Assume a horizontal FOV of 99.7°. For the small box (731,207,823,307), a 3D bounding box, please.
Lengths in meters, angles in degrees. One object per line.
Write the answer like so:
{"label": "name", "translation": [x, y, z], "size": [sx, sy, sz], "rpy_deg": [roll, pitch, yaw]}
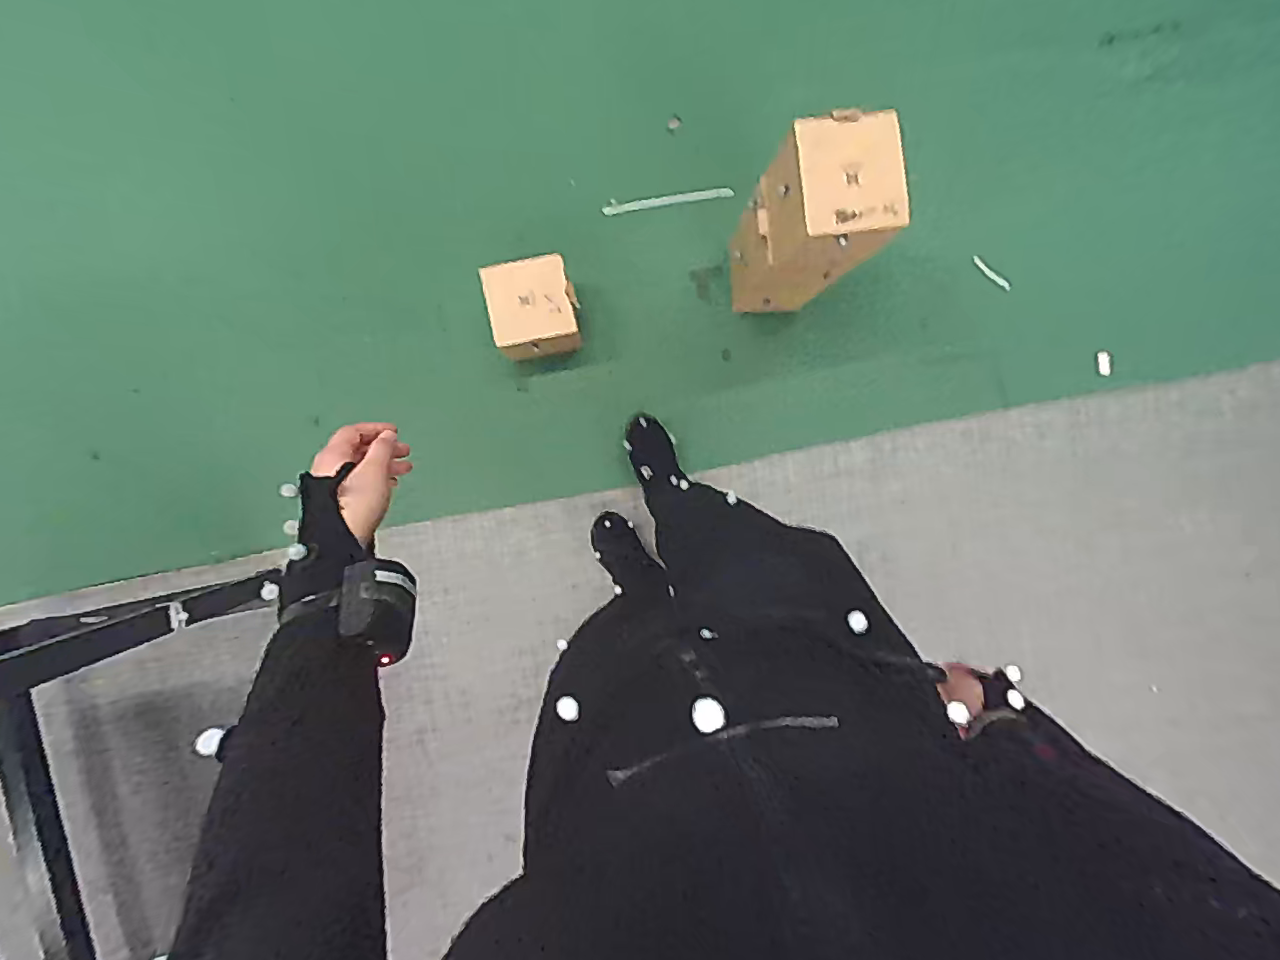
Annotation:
{"label": "small box", "translation": [0.307, -0.499, 1.234], "size": [0.168, 0.176, 0.179], "rpy_deg": [-3, 92, -4]}

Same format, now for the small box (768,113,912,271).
{"label": "small box", "translation": [0.324, -0.473, 0.907], "size": [0.168, 0.176, 0.179], "rpy_deg": [-7, 92, -4]}

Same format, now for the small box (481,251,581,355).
{"label": "small box", "translation": [-0.233, -0.384, 1.202], "size": [0.179, 0.176, 0.168], "rpy_deg": [-12, 94, -3]}
